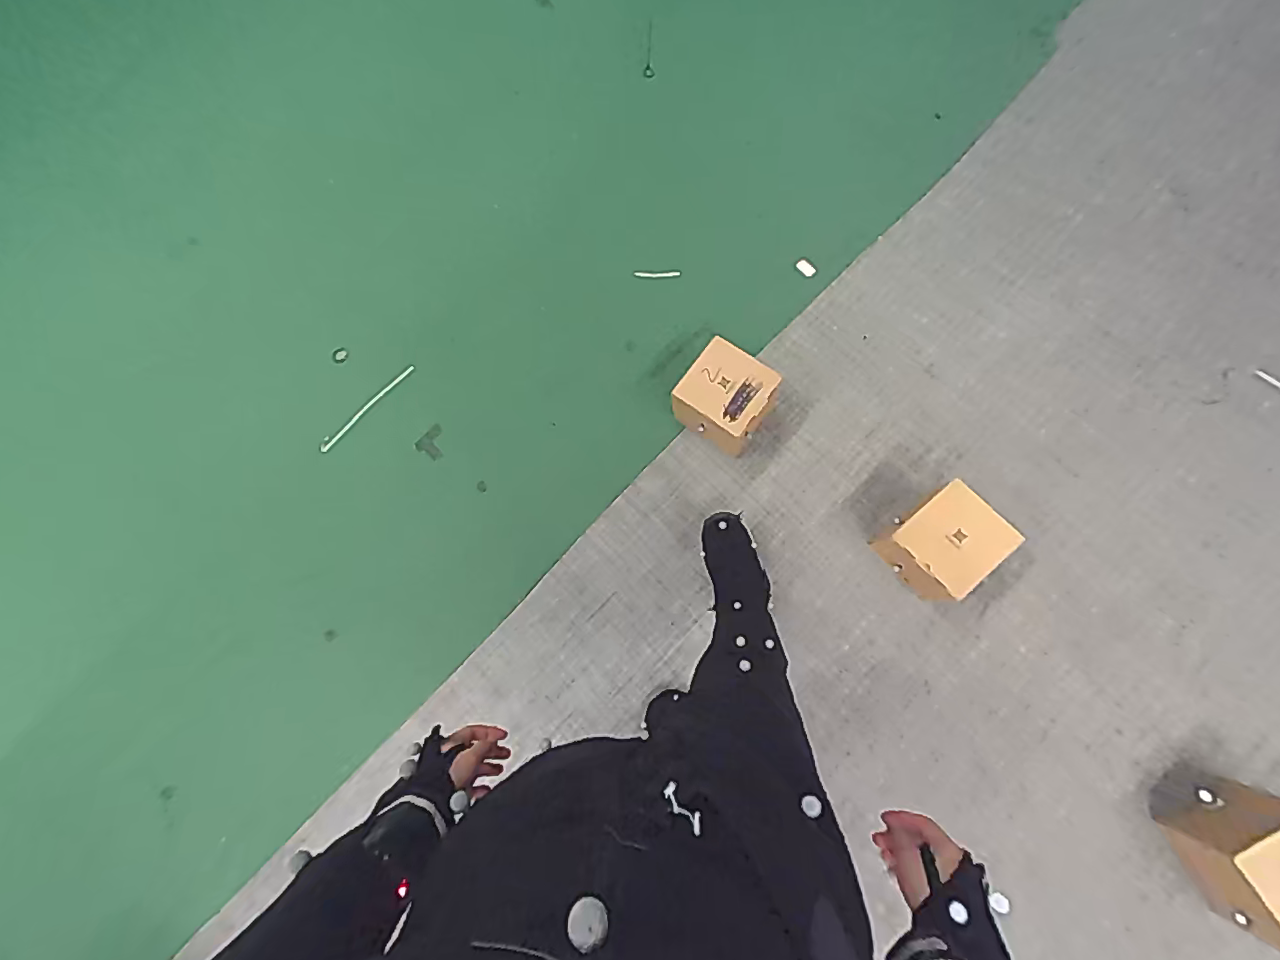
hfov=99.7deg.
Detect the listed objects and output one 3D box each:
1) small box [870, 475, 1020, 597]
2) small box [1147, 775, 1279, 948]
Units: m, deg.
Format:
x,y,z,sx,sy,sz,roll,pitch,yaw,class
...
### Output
x,y,z,sx,sy,sz,roll,pitch,yaw,class
0.605,0.119,1.101,0.179,0.176,0.168,-42,76,-2,small box
1.060,0.650,0.931,0.168,0.176,0.179,-29,75,-1,small box
